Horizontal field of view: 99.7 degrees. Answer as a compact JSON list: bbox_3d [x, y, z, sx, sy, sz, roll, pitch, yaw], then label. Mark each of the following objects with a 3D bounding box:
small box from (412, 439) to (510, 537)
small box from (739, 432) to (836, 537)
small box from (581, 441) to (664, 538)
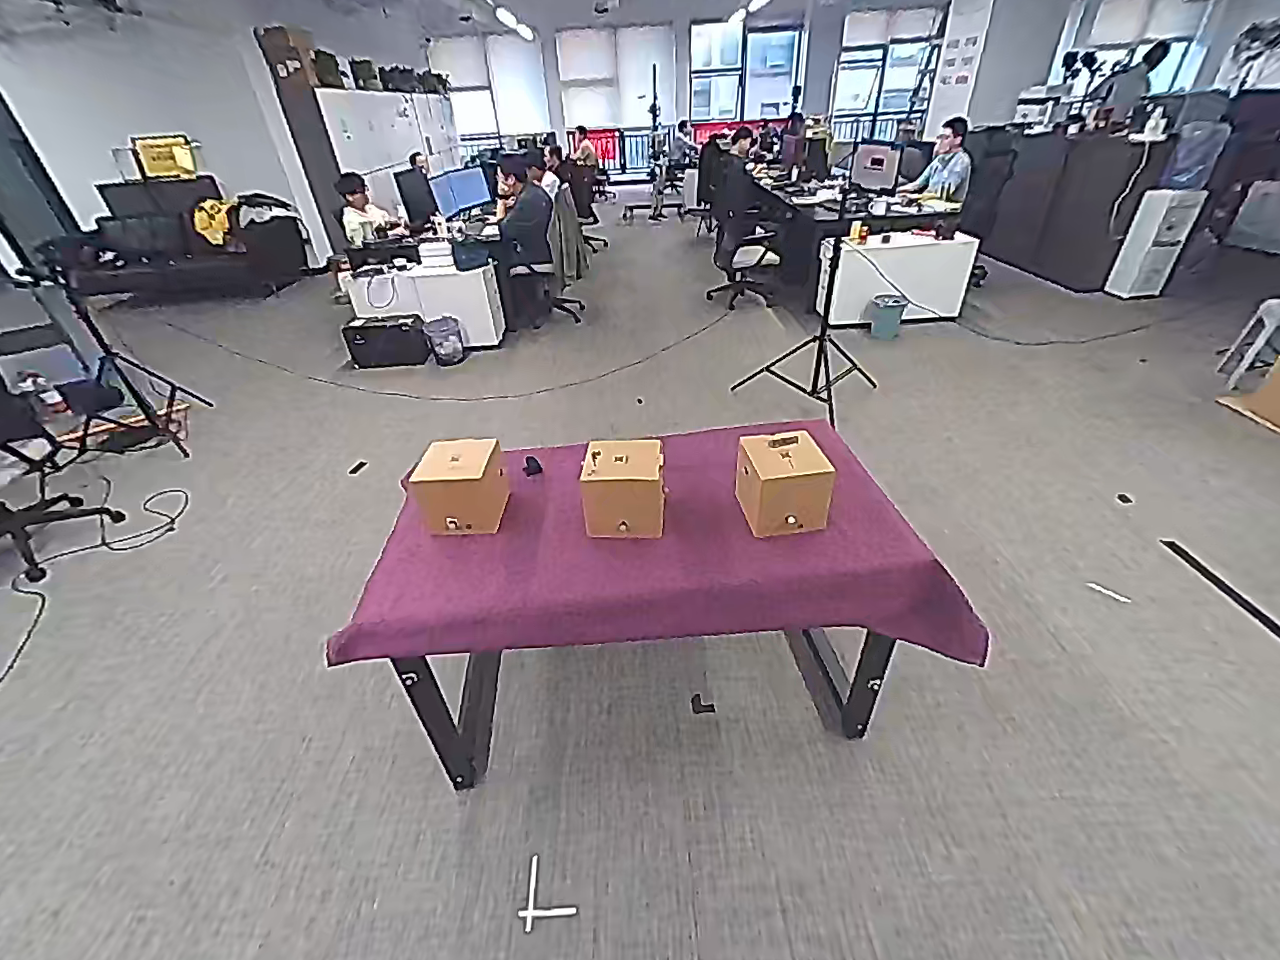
[{"bbox_3d":[-0.423,0.019,1.313,0.168,0.176,0.179,-3,36,2],"label":"small box"},{"bbox_3d":[0.331,0.009,1.255,0.168,0.176,0.179,-7,35,-4],"label":"small box"},{"bbox_3d":[-0.033,0.023,1.271,0.179,0.176,0.168,0,35,5],"label":"small box"}]
